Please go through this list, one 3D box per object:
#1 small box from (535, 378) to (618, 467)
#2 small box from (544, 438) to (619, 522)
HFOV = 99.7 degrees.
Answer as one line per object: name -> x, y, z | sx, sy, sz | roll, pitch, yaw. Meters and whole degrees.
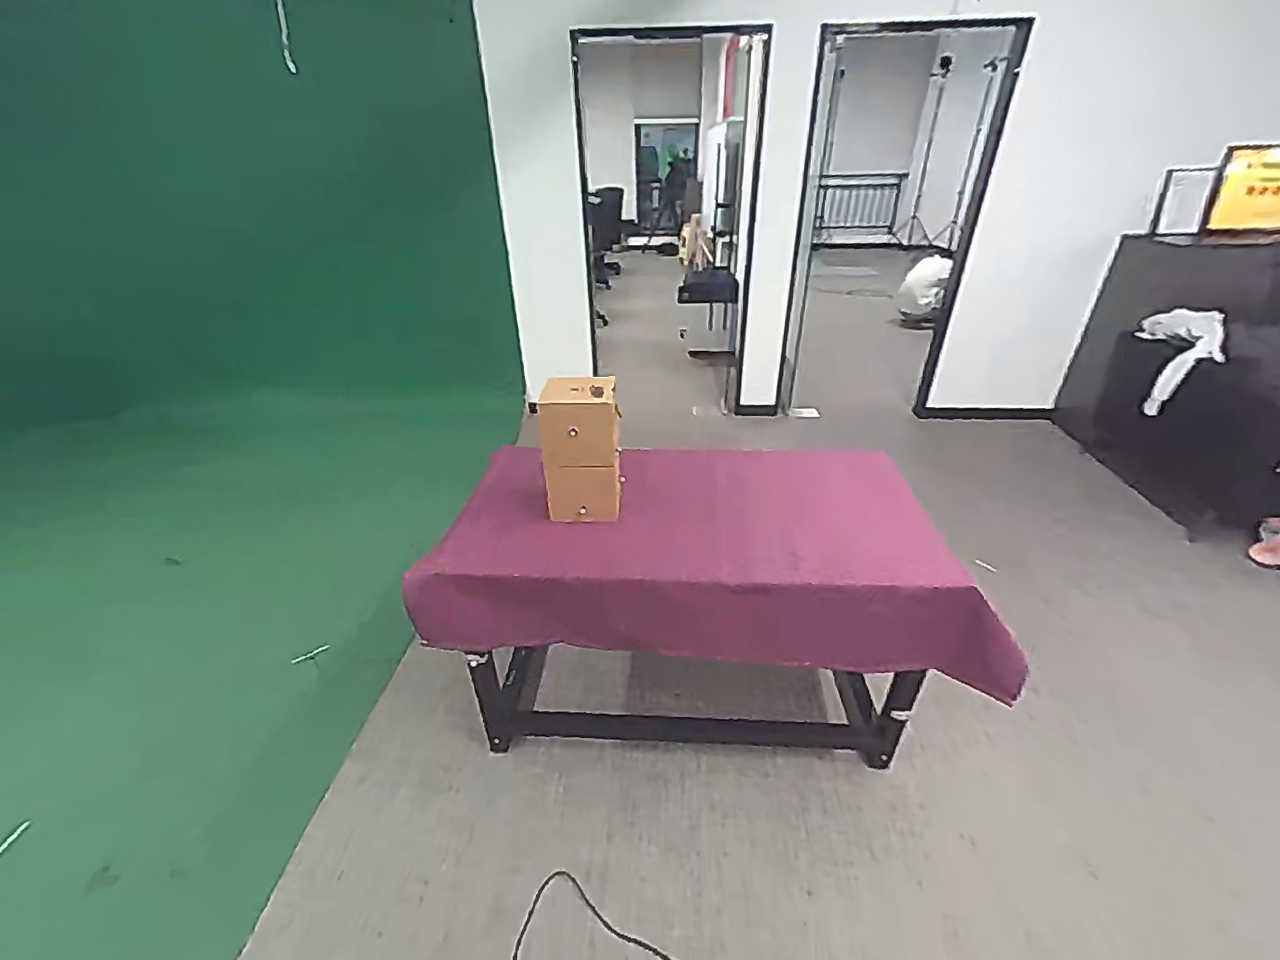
small box -> -0.147, -0.141, 1.331 | 0.179, 0.176, 0.168 | -1, 32, 2
small box -> -0.145, -0.001, 1.419 | 0.179, 0.176, 0.168 | 0, 32, 1
